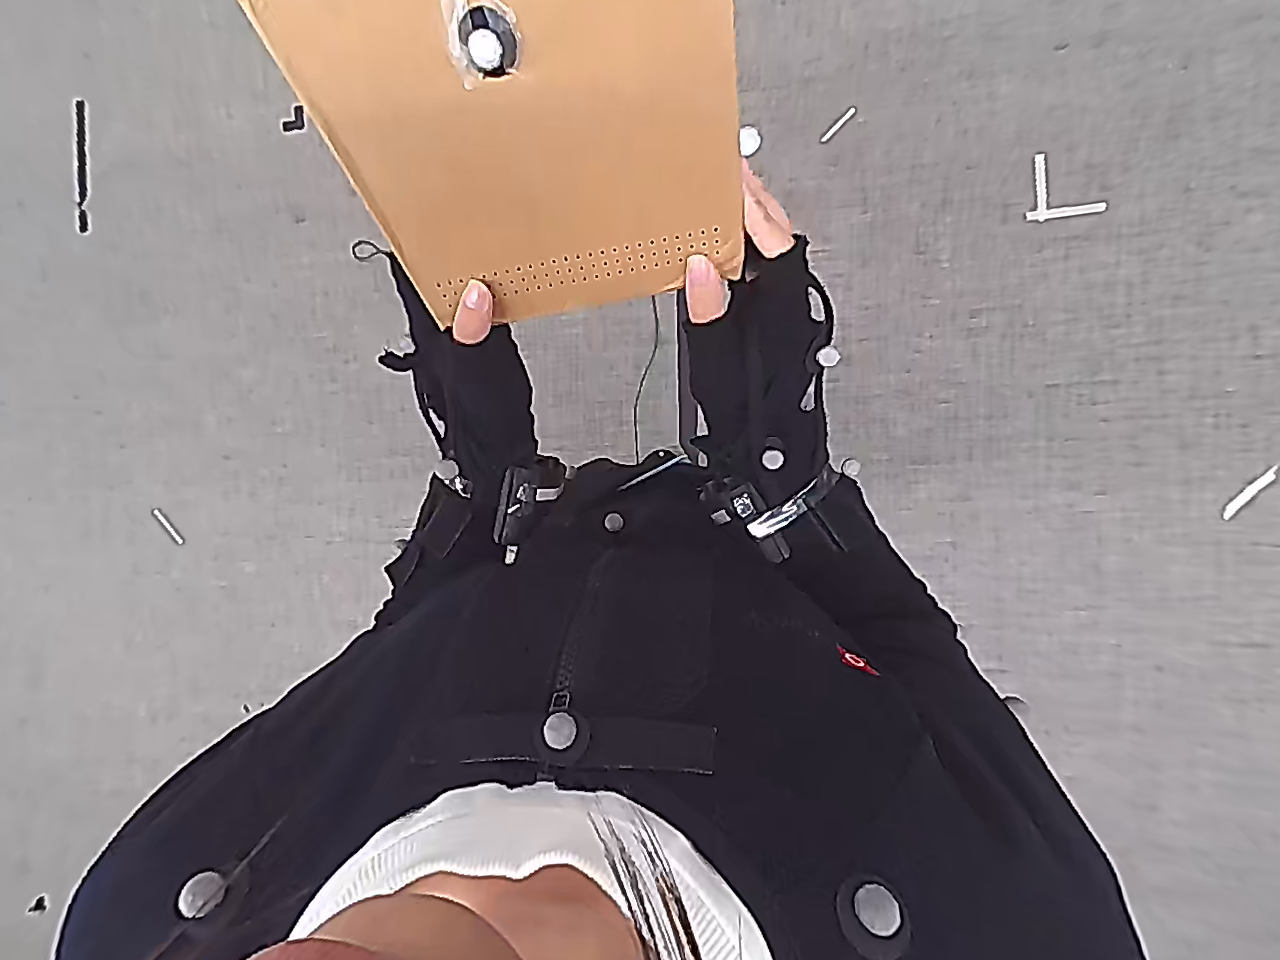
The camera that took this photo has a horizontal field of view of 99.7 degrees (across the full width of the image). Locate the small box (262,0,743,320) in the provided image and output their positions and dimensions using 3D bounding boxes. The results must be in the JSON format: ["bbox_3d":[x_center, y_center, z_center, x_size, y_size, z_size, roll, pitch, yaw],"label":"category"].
[{"bbox_3d":[-0.044,-0.211,0.298,0.179,0.176,0.168,-7,55,9],"label":"small box"}]
